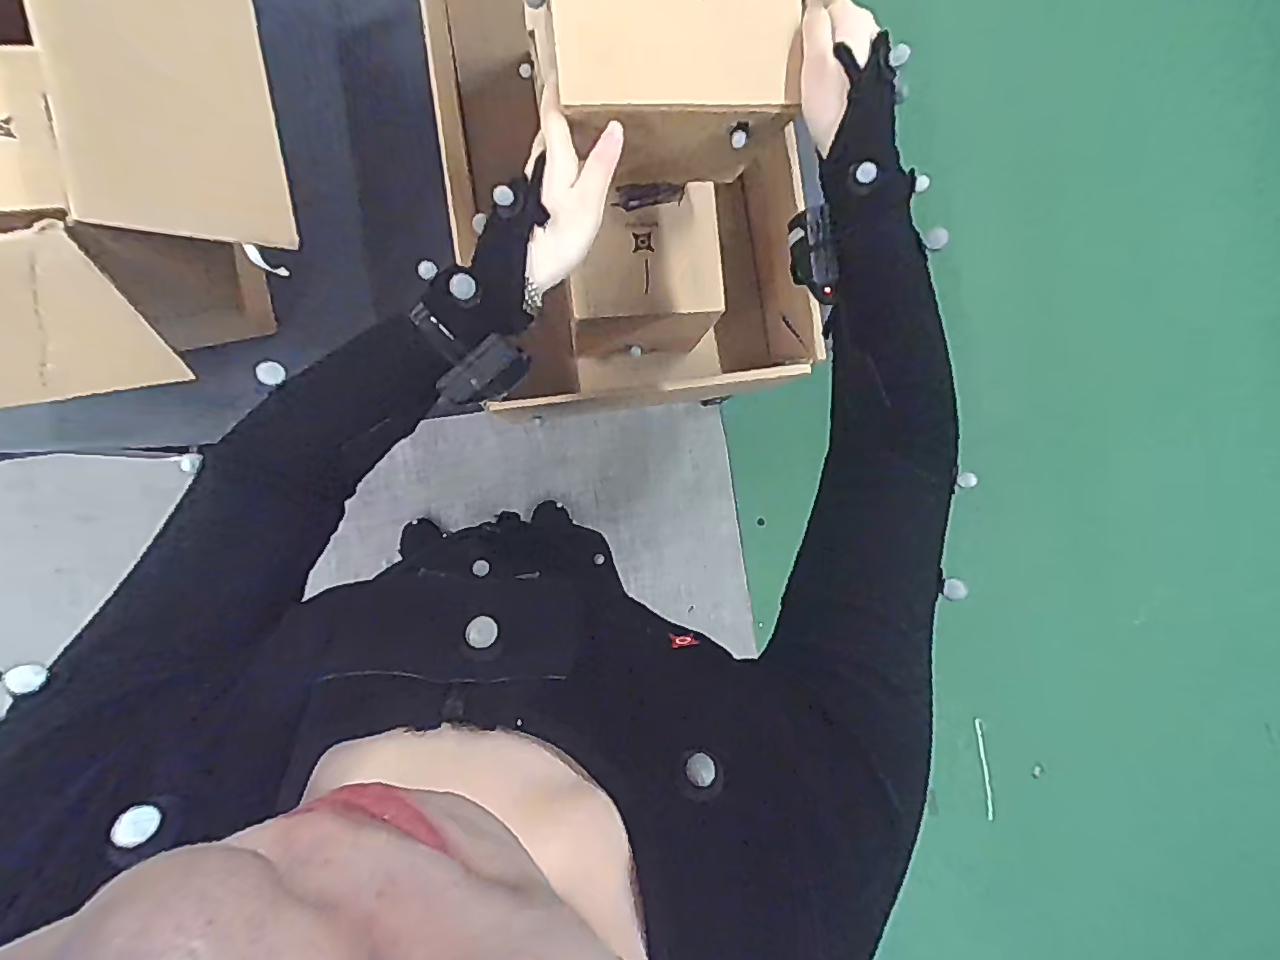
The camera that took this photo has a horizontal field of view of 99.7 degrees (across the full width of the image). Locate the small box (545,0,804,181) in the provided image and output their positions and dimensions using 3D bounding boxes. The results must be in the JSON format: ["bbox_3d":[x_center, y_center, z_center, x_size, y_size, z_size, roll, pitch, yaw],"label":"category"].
[{"bbox_3d":[0.015,-0.355,0.435,0.179,0.176,0.168,-6,103,-9],"label":"small box"}]
